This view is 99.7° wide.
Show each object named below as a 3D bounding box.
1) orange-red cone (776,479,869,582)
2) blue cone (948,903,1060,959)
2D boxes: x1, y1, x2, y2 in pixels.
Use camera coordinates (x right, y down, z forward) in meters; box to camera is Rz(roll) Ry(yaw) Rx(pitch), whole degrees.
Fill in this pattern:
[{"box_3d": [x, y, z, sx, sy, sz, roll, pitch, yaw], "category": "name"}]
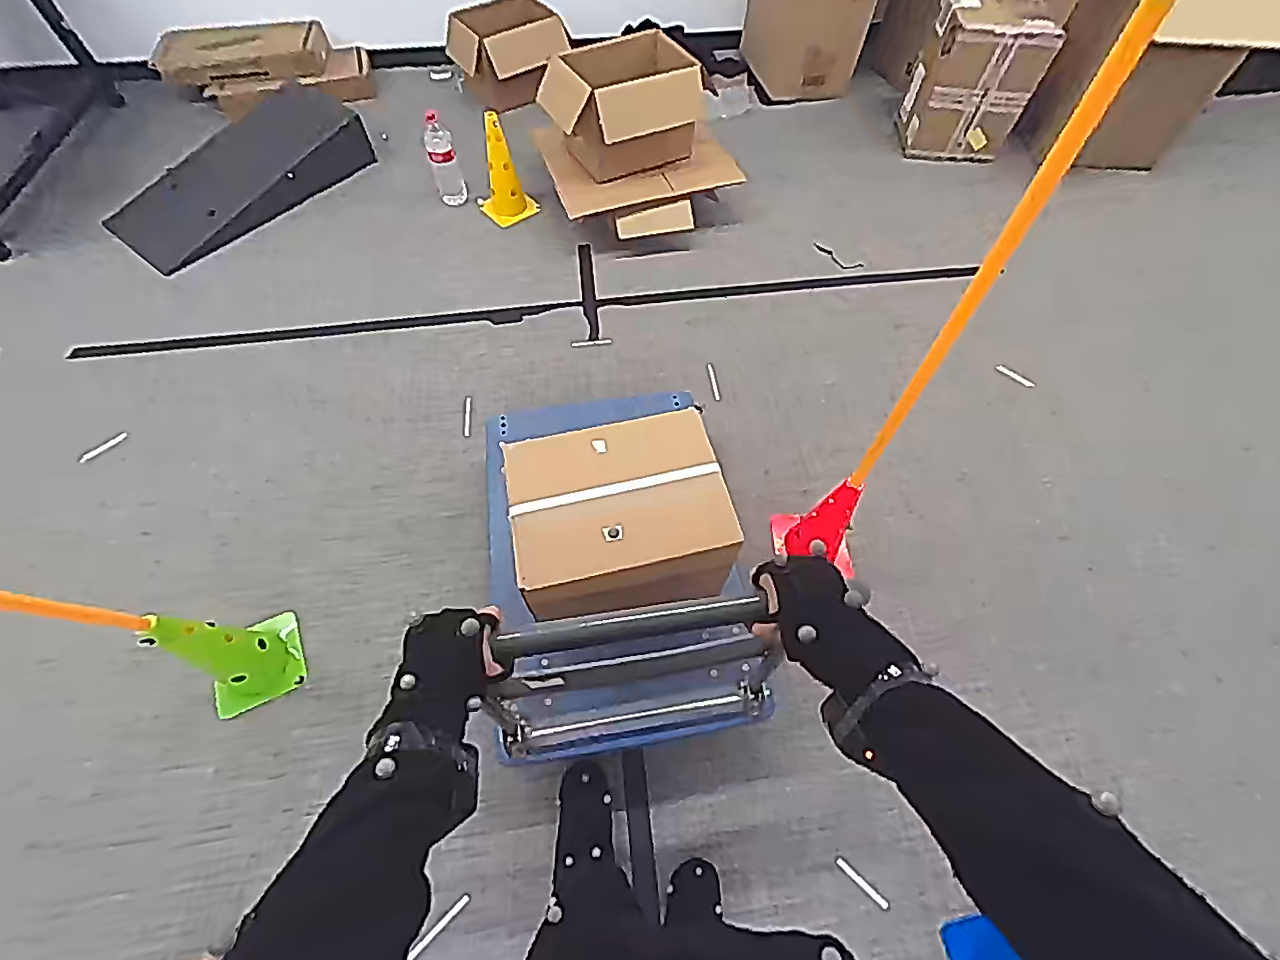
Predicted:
[{"box_3d": [0.481, 0.099, 1.329, 0.199, 0.360, 0.198, 0, 61, -2], "category": "orange-red cone"}, {"box_3d": [0.717, 0.869, 0.903, 0.193, 0.380, 0.192, -9, 59, -6], "category": "blue cone"}]
